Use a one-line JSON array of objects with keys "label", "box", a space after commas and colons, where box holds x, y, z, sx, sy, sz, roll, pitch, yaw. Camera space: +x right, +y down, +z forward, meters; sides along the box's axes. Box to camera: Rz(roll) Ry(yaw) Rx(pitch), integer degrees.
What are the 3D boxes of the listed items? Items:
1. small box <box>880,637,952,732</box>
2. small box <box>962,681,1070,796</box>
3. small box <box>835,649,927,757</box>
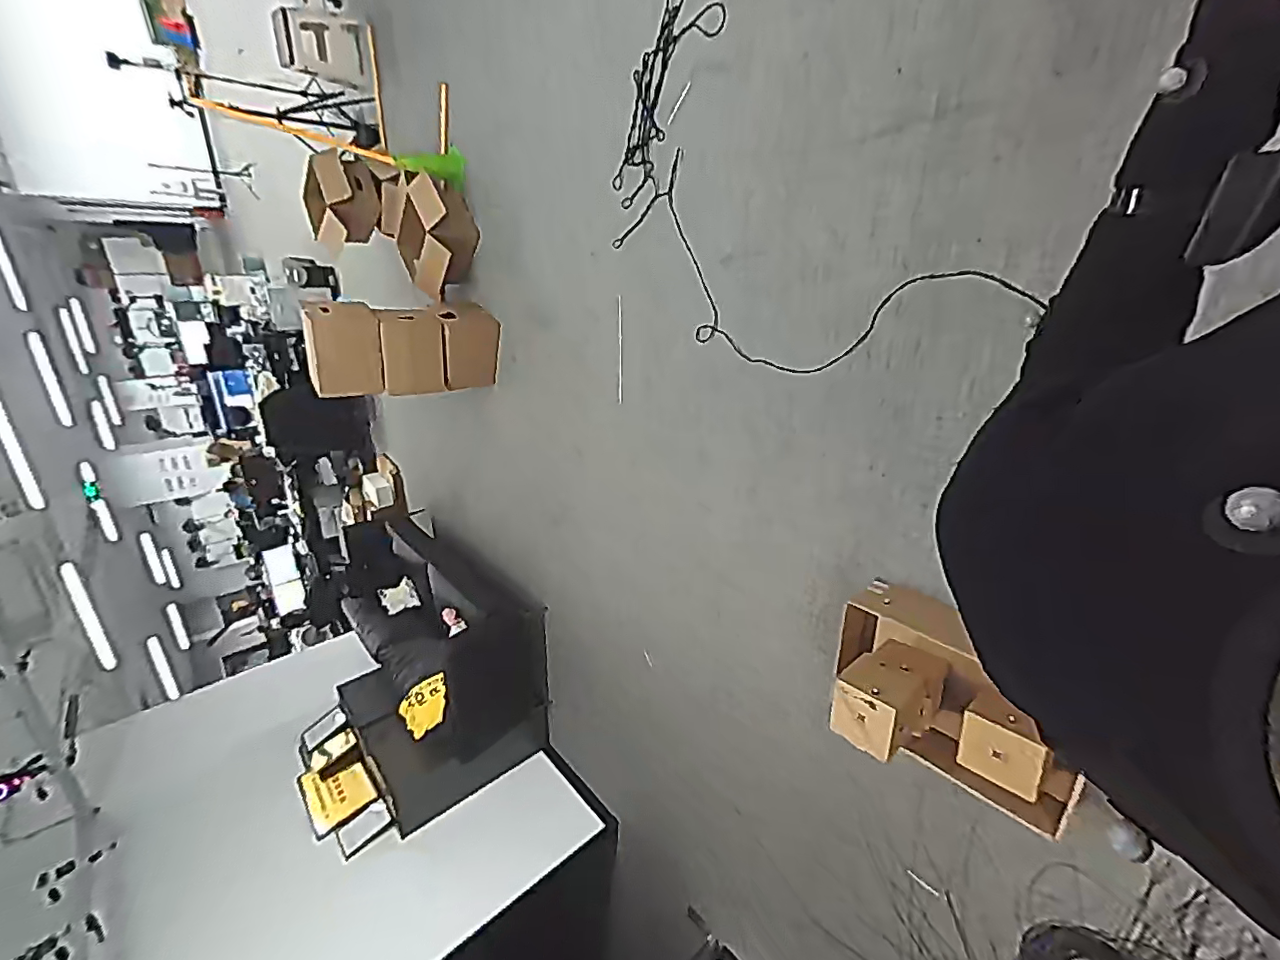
[{"label": "small box", "box": [0.783, 0.584, 1.574, 0.179, 0.176, 0.168, 14, 114, 47]}, {"label": "small box", "box": [0.960, 0.646, 1.378, 0.179, 0.176, 0.168, 18, 116, 48]}, {"label": "small box", "box": [0.655, 0.597, 1.470, 0.168, 0.176, 0.179, 20, 118, 45]}]
